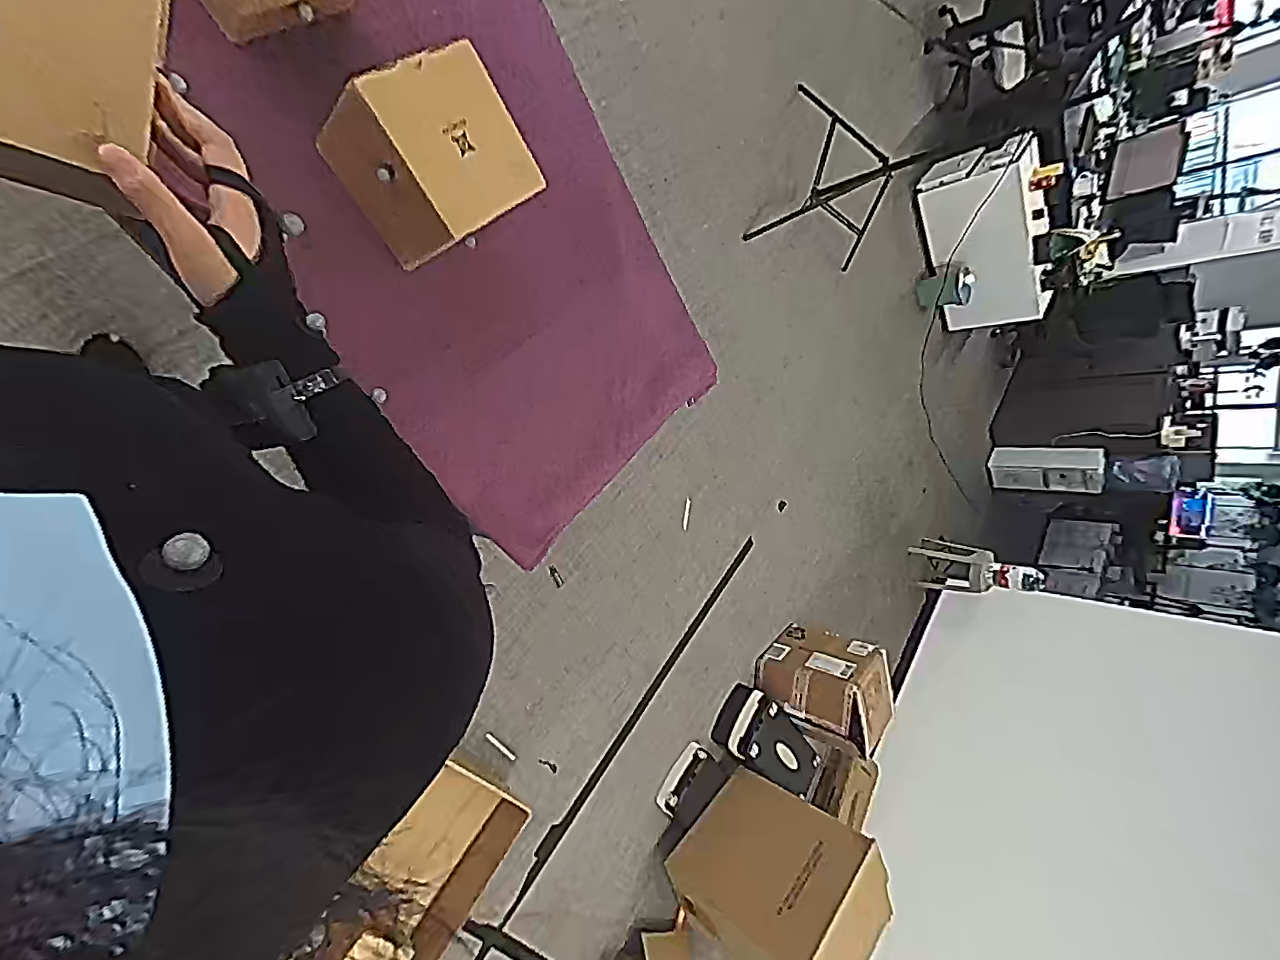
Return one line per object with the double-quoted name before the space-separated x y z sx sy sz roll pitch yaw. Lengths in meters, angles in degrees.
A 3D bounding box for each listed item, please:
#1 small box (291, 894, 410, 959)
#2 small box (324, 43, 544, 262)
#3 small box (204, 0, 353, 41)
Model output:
"small box" -0.714 1.168 1.328 0.168 0.176 0.179 -52 125 -26
"small box" -0.265 -0.403 0.698 0.168 0.176 0.179 -49 122 -29
"small box" -0.401 -0.610 0.555 0.168 0.176 0.179 -49 124 -28
